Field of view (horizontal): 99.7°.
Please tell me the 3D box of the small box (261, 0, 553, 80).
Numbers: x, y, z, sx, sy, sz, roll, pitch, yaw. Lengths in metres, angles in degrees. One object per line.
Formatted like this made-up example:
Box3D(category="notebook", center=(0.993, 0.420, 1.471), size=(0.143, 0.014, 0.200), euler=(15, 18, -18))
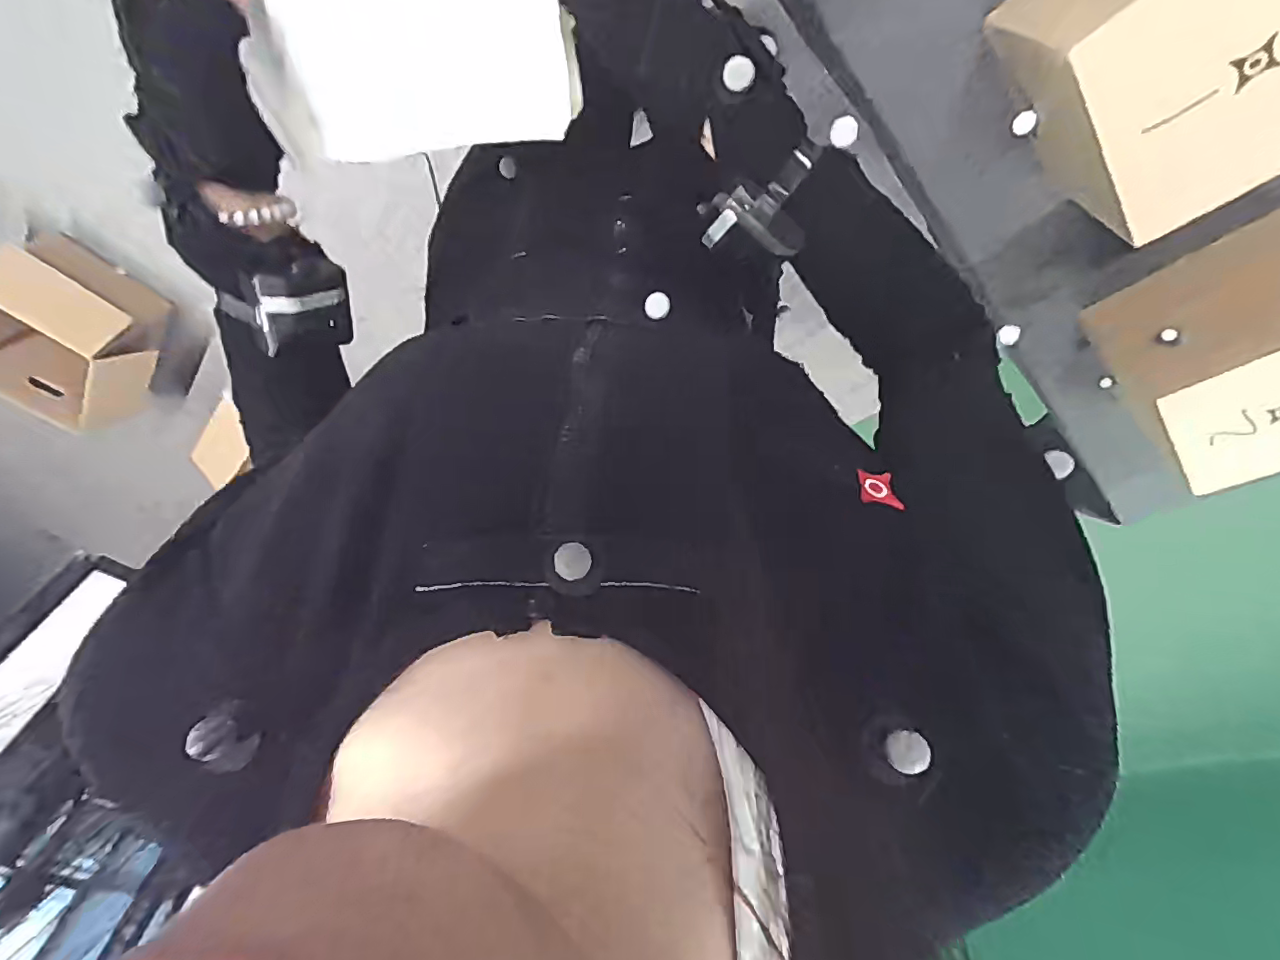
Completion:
Box3D(category="small box", center=(-0.144, -0.374, 0.310), size=(0.168, 0.176, 0.179), euler=(-8, 140, 8))
